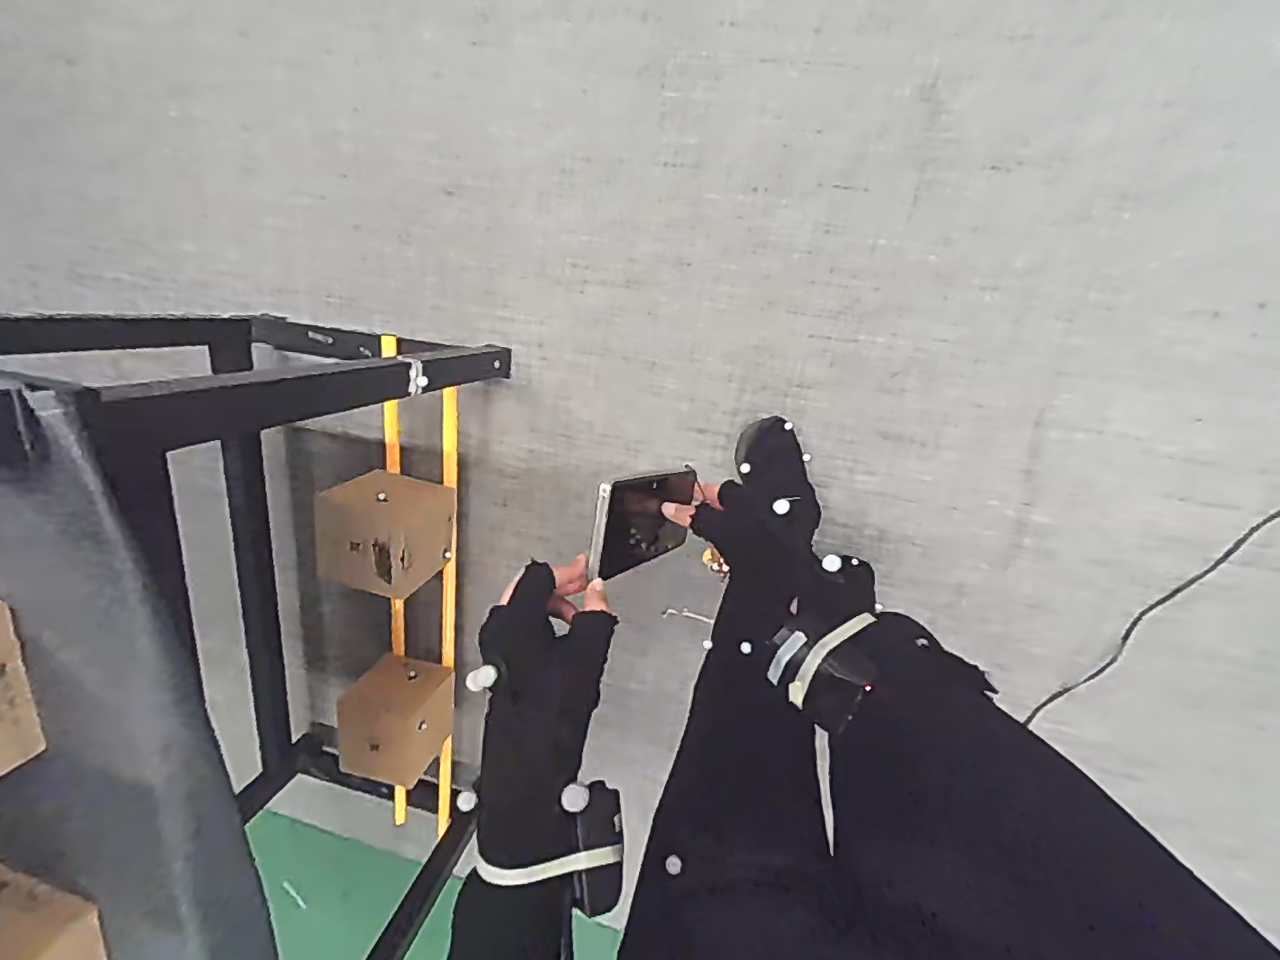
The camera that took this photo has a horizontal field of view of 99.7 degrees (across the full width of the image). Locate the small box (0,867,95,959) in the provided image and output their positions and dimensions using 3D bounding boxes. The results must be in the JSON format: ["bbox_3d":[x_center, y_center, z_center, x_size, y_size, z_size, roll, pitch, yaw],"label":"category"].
[{"bbox_3d":[-0.686,0.530,0.529,0.168,0.176,0.179,13,109,9],"label":"small box"}]

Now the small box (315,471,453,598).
[{"bbox_3d":[-0.472,0.093,1.016,0.179,0.176,0.168,13,109,8],"label":"small box"}]
